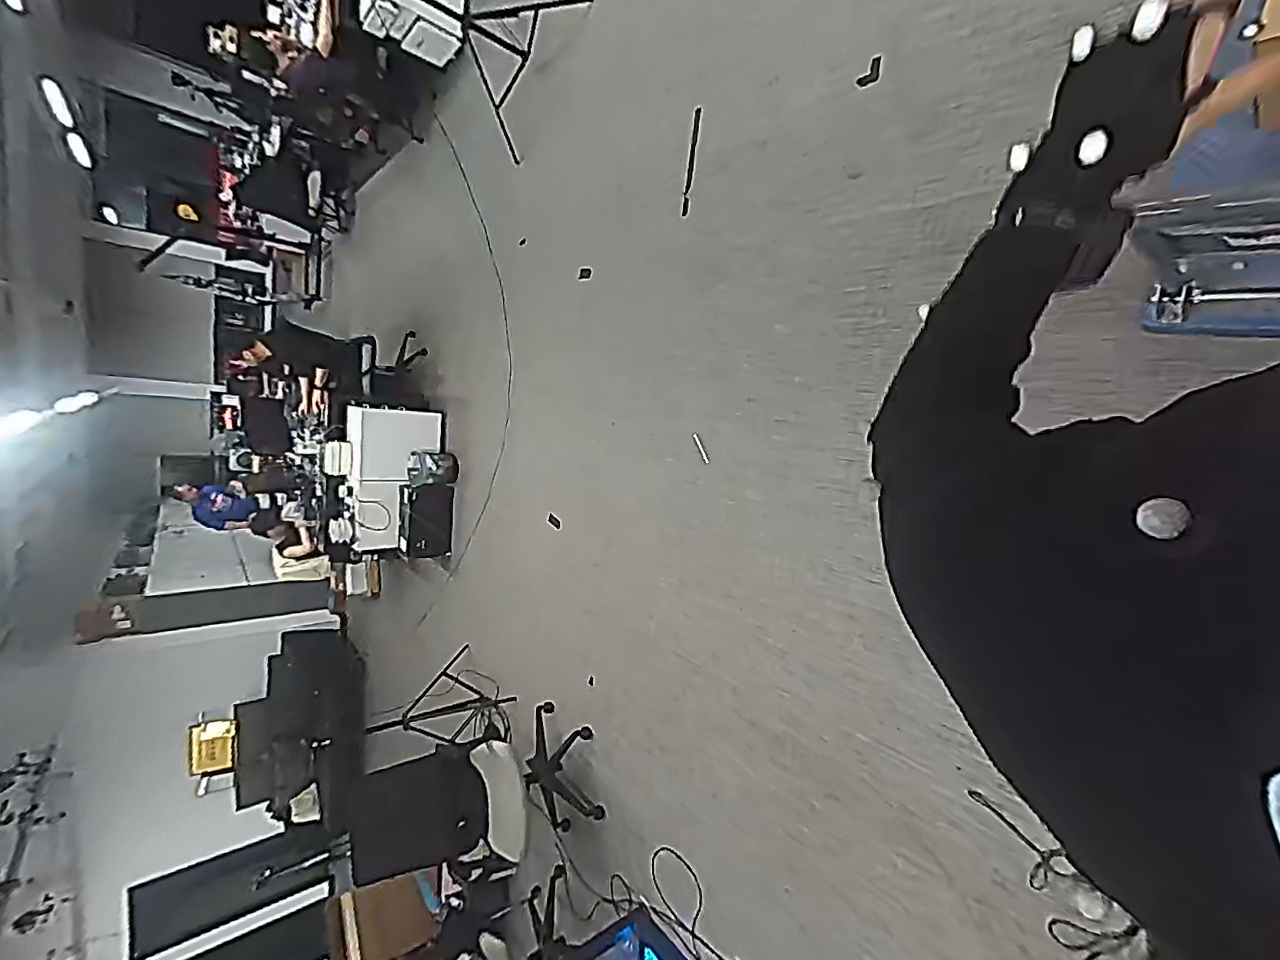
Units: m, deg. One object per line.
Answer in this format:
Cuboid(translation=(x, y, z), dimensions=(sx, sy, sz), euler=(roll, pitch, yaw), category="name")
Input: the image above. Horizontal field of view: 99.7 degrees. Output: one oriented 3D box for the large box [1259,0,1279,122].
Cuboid(translation=(1.054, -0.678, 0.610), dimensions=(0.408, 0.320, 0.320), euler=(21, 106, 49), category="large box")
